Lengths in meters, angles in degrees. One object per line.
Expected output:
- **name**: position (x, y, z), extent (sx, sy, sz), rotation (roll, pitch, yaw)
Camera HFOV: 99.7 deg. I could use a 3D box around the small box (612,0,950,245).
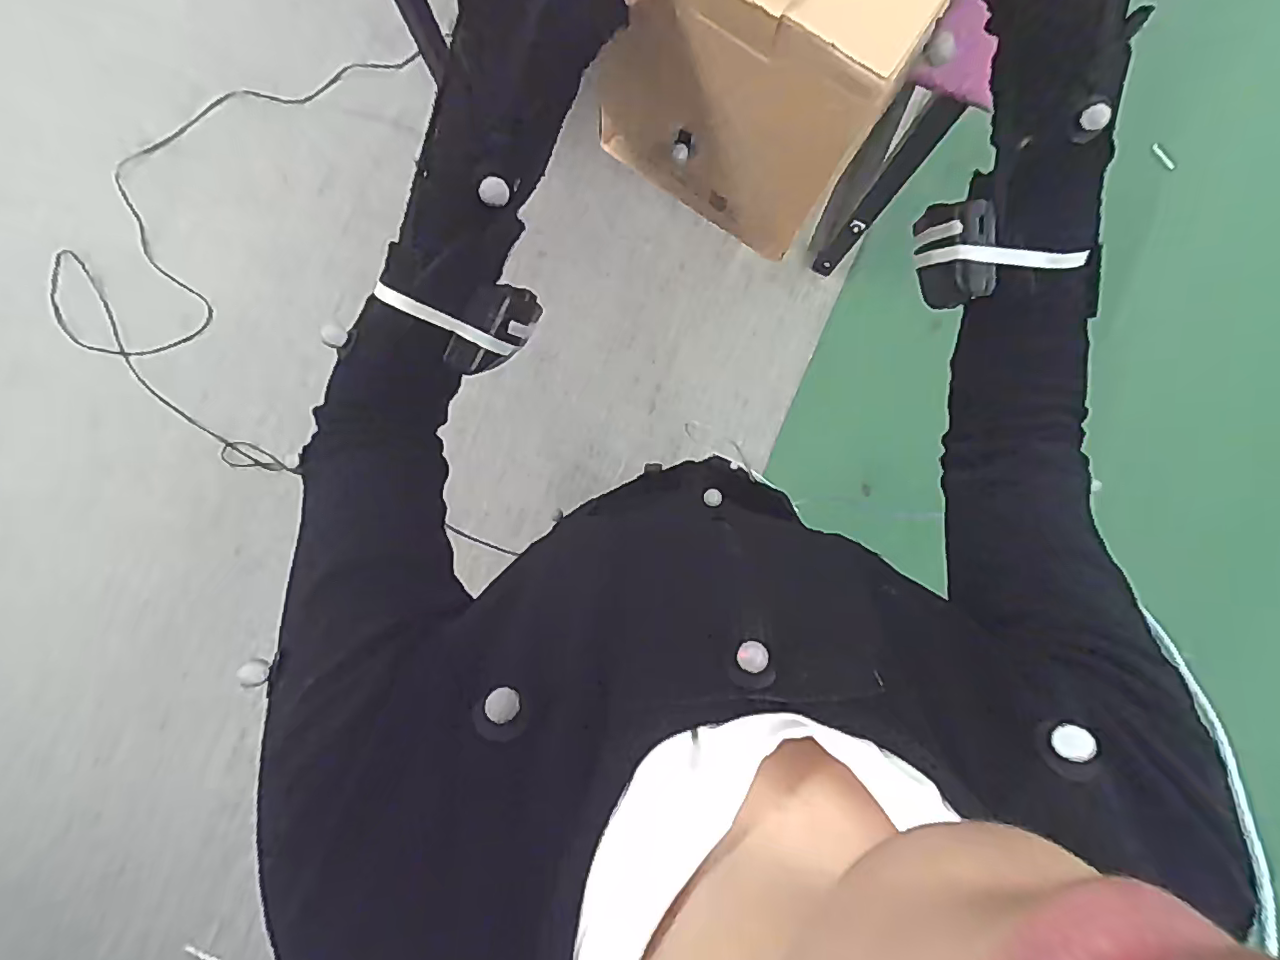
- **small box**: position (0.091, -0.295, 0.341), extent (0.168, 0.176, 0.179), rotation (34, 83, 0)
